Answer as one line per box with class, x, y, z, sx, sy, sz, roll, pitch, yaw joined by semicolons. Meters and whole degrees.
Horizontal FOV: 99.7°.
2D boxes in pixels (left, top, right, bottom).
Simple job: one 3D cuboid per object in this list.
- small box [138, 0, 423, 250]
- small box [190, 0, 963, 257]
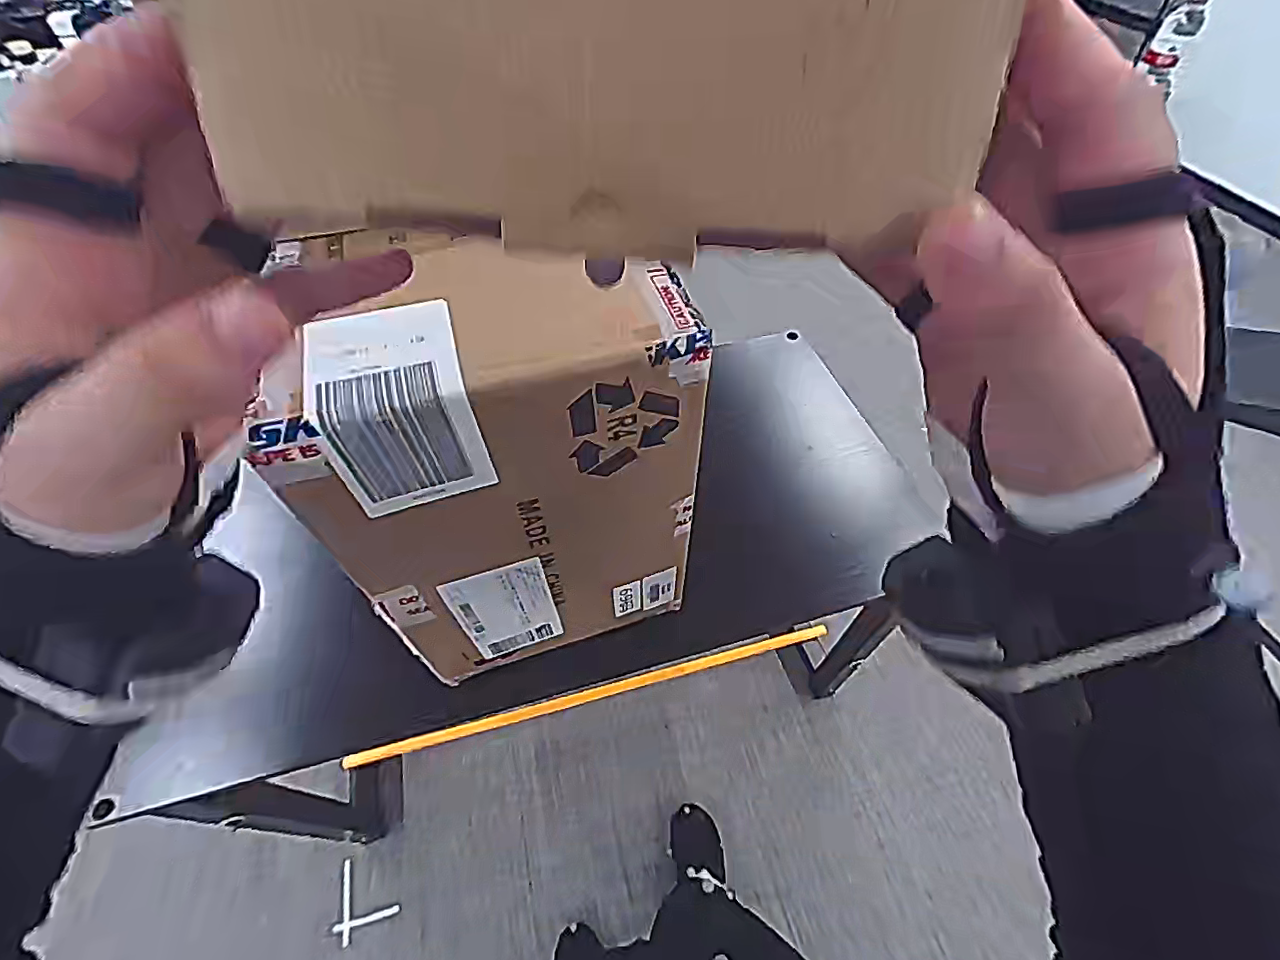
small box;-0.280;-0.331;0.479;0.168;0.176;0.179;-18;53;-13
small box;-0.010;-0.172;0.172;0.168;0.179;0.176;3;23;-2
